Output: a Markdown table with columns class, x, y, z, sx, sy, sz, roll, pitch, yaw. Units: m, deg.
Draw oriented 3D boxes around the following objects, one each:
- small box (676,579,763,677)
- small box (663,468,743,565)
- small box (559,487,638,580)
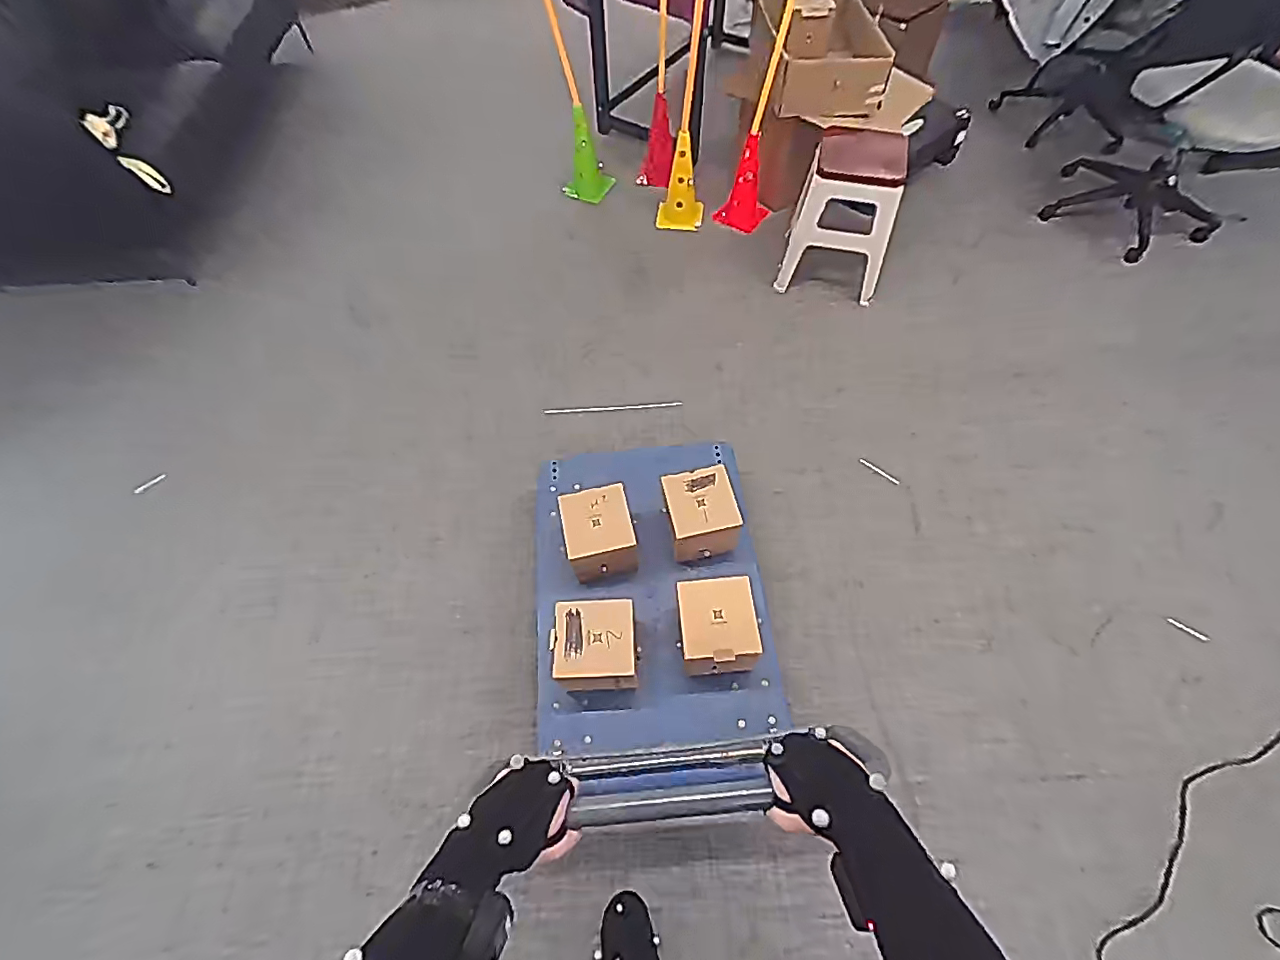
| class | x | y | z | sx | sy | sz | roll | pitch | yaw |
| --- | --- | --- | --- | --- | --- | --- | --- | --- | --- |
| small box | 0.176 | 0.344 | 1.251 | 0.168 | 0.176 | 0.179 | -5 | 60 | -1 |
| small box | 0.154 | 0.096 | 1.394 | 0.168 | 0.176 | 0.179 | -12 | 61 | -4 |
| small box | -0.102 | 0.143 | 1.376 | 0.168 | 0.176 | 0.179 | -12 | 60 | -5 |
